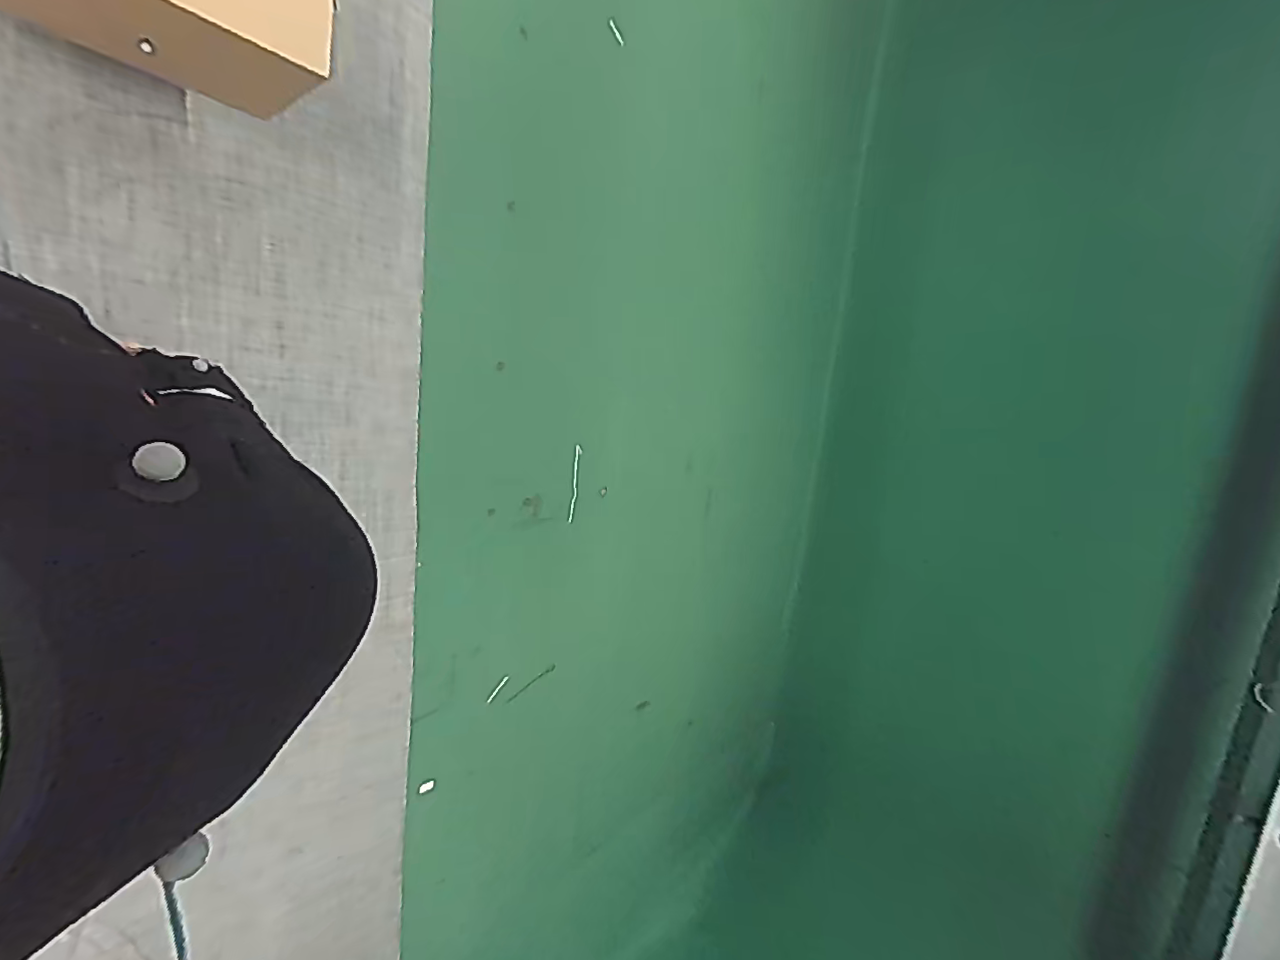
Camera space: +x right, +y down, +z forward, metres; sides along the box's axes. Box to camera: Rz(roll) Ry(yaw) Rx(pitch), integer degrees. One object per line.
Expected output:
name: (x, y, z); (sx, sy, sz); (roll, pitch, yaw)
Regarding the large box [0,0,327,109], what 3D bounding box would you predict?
large box: (-0.738, -0.837, 0.807); (0.408, 0.320, 0.320); (-4, 103, -50)
